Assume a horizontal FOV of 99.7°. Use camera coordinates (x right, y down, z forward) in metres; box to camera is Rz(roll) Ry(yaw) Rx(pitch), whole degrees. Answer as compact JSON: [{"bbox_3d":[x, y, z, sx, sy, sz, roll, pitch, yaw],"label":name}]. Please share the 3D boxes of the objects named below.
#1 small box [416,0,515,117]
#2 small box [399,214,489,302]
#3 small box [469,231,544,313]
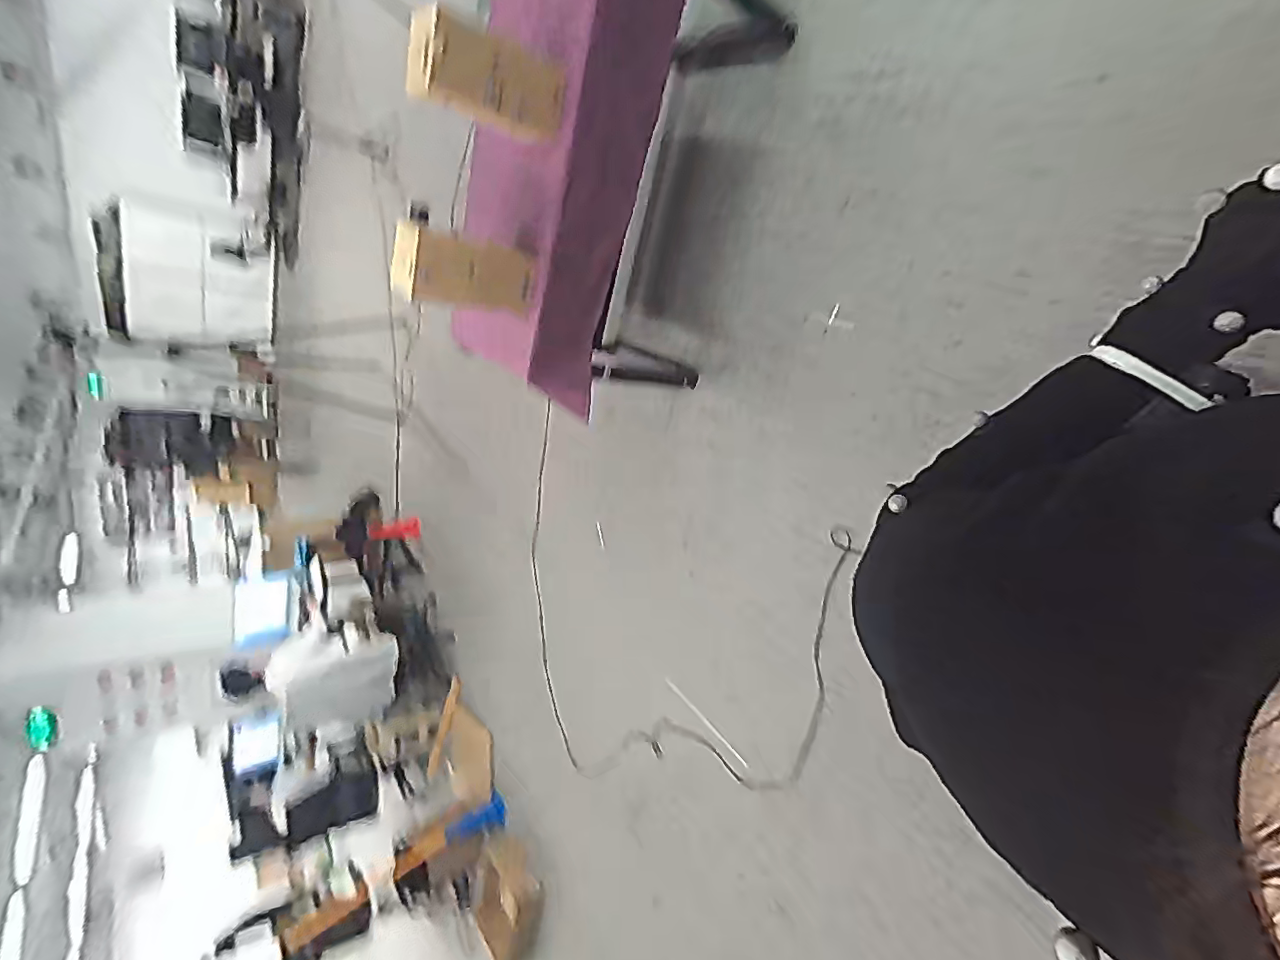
[{"bbox_3d":[-0.419,-1.001,1.300,0.179,0.176,0.168,35,117,44],"label":"small box"},{"bbox_3d":[-0.524,-0.585,1.439,0.179,0.176,0.168,41,123,41],"label":"small box"},{"bbox_3d":[-0.399,-0.591,1.547,0.179,0.176,0.168,40,121,40],"label":"small box"}]
